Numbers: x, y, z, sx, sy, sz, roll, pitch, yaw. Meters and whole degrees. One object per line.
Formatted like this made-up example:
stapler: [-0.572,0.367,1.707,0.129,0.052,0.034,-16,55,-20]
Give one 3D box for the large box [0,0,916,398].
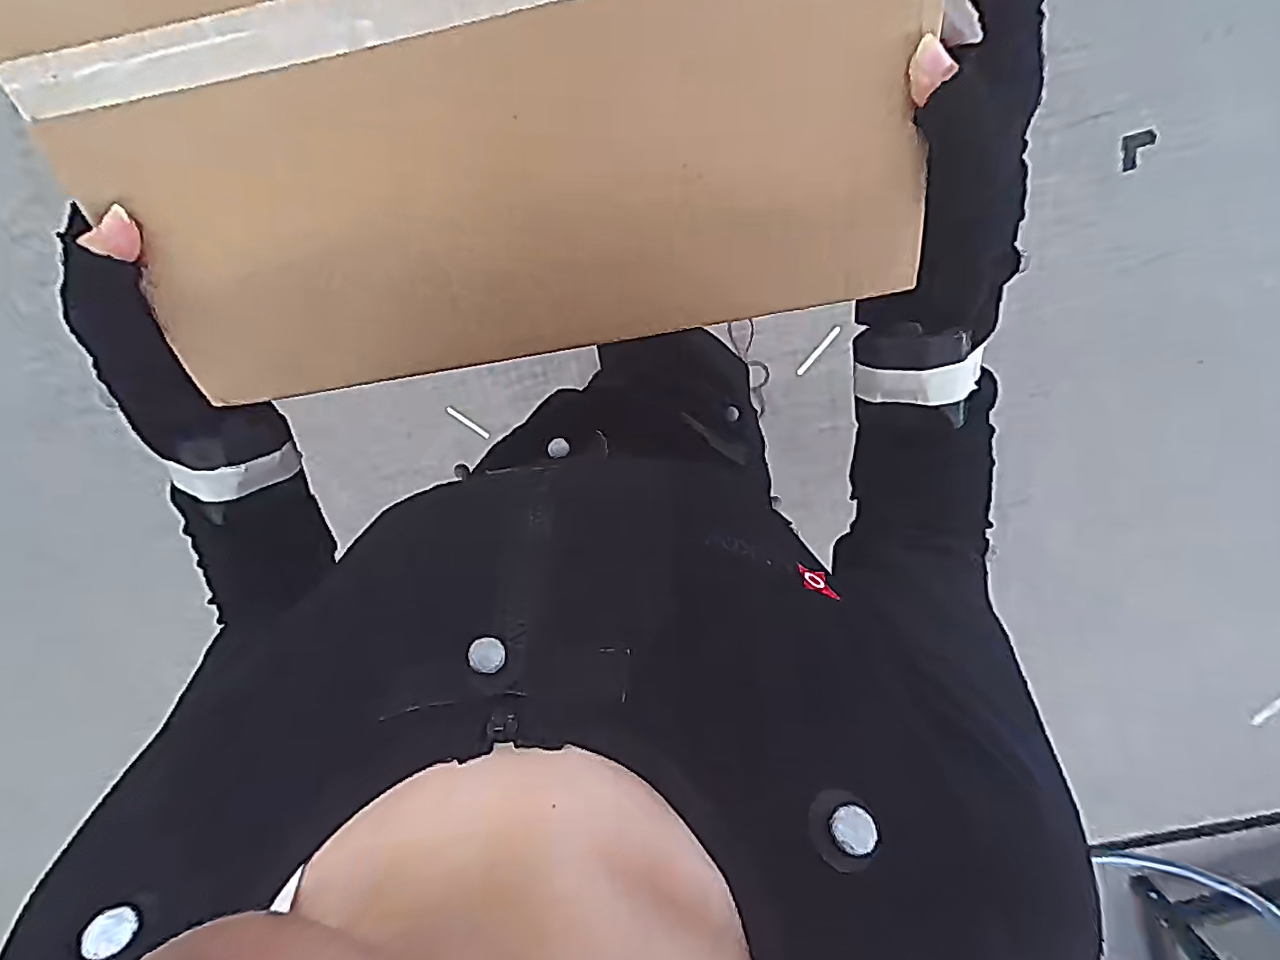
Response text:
large box: [-0.080,-0.287,0.360,0.408,0.320,0.320,-8,121,5]
